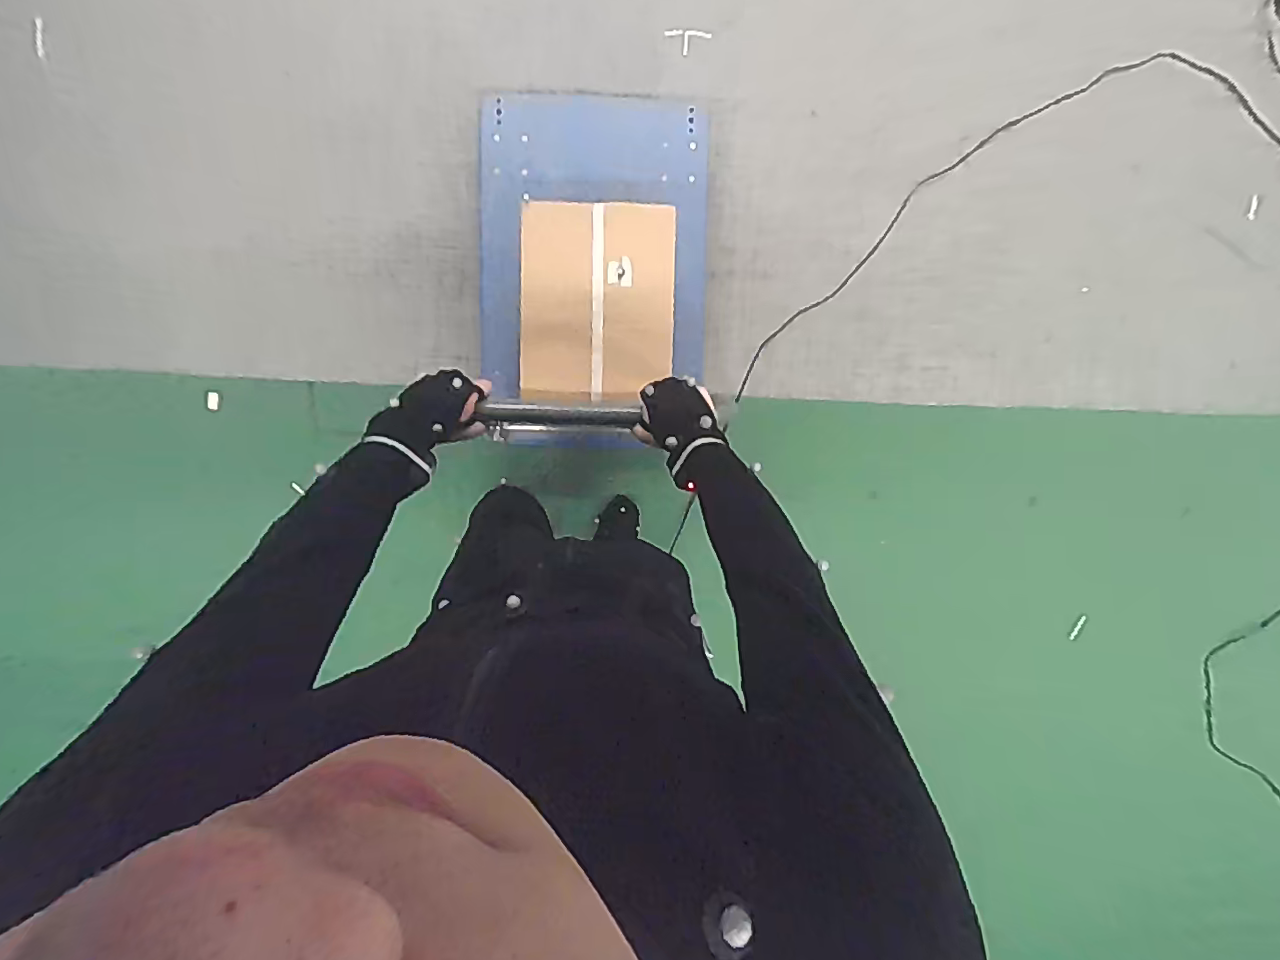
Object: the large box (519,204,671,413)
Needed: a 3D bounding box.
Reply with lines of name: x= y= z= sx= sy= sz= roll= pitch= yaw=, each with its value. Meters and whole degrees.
large box: x=-0.095 y=-0.365 z=1.253 sx=0.320 sy=0.320 sz=0.408 roll=1 pitch=94 yaw=-3
